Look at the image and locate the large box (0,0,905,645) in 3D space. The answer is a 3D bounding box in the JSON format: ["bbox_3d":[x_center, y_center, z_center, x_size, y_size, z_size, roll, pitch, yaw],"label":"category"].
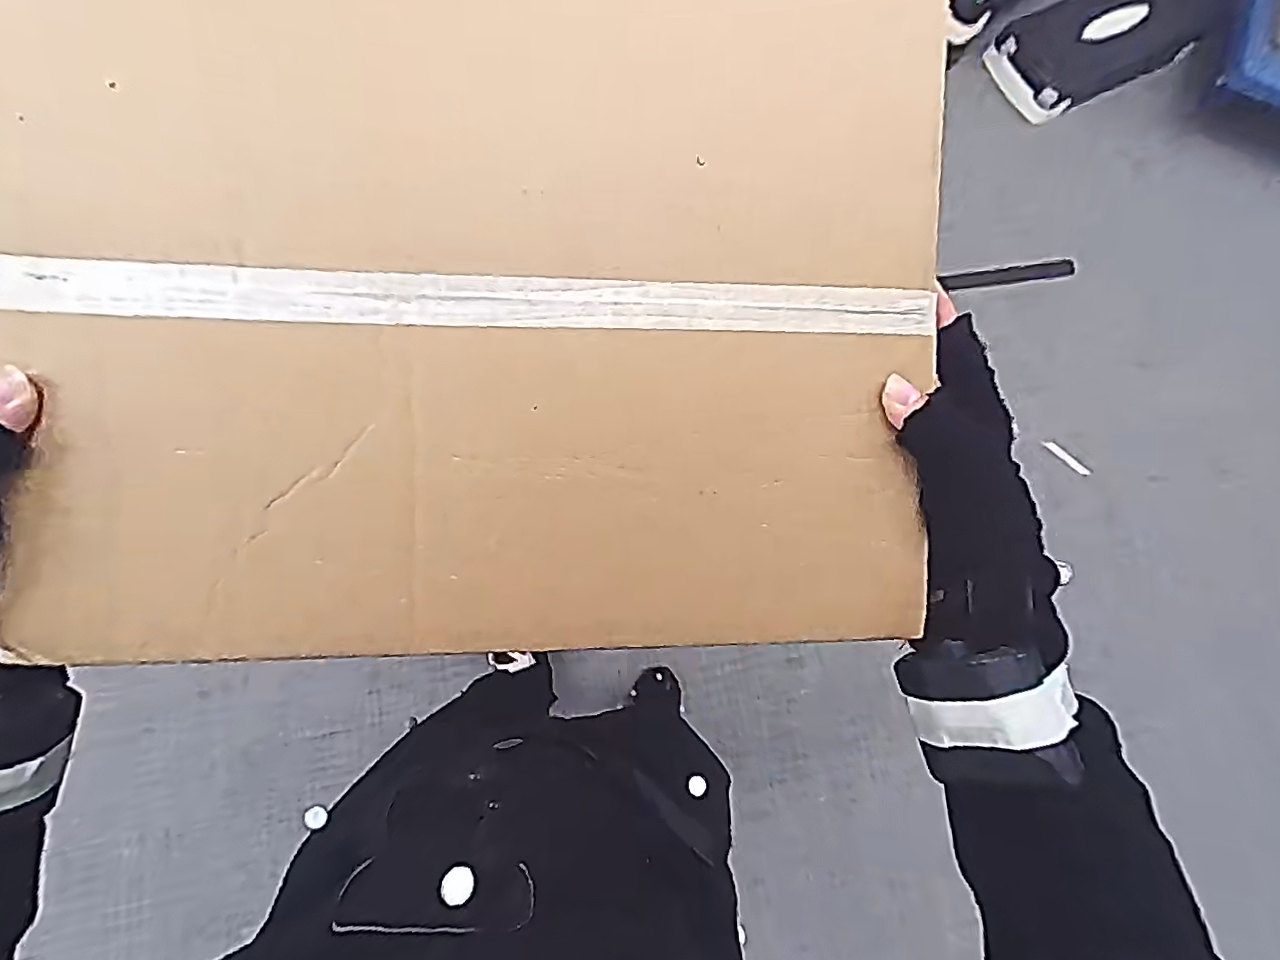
[{"bbox_3d":[-0.084,-0.092,0.397,0.408,0.320,0.320,0,93,-7],"label":"large box"}]
